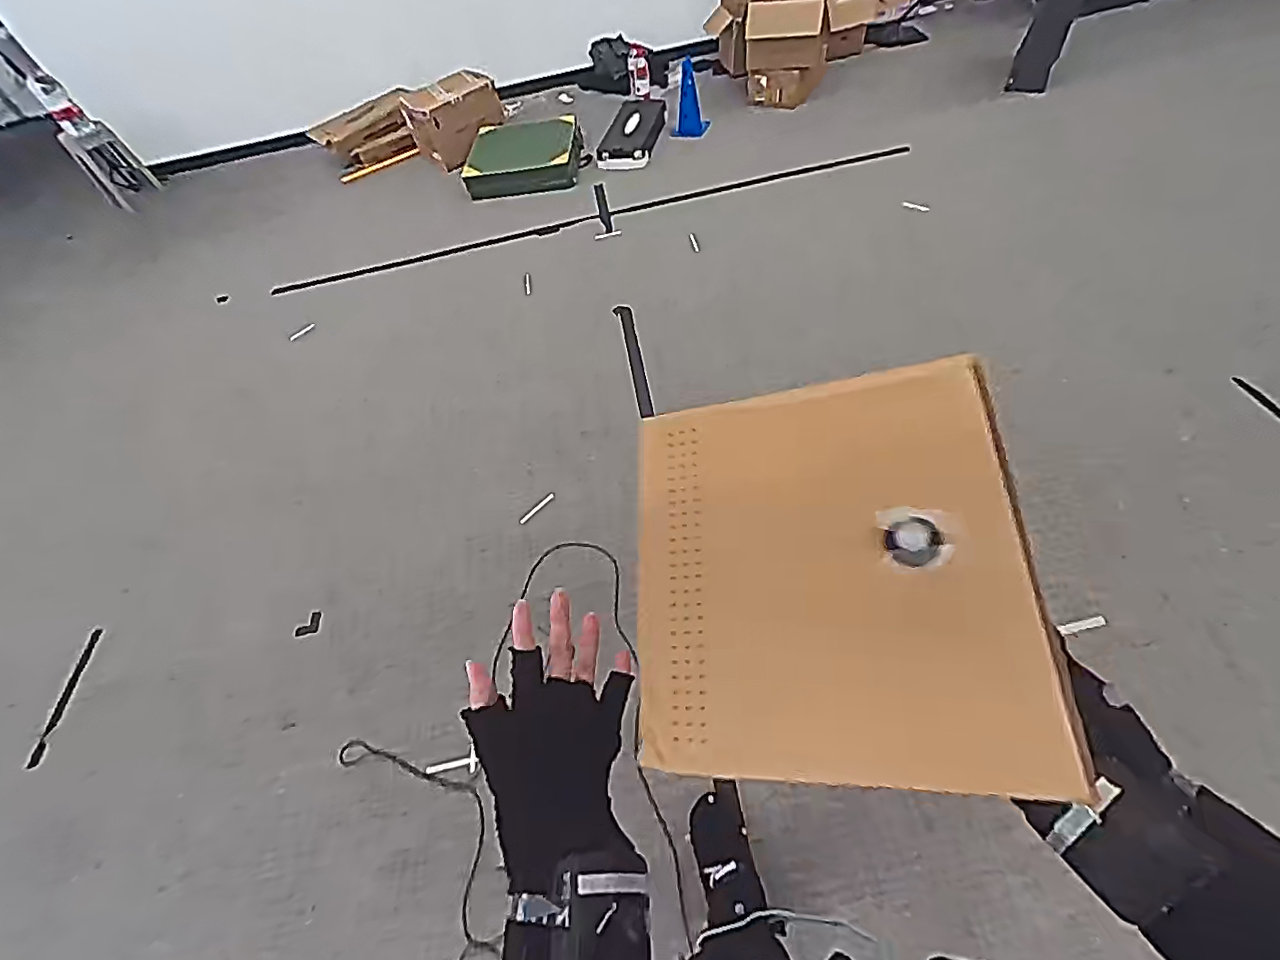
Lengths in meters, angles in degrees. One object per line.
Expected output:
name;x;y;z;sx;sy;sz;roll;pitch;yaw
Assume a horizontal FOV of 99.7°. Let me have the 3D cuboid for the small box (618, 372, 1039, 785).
small box;0.095;0.067;0.317;0.176;0.168;0.179;-10;67;23
